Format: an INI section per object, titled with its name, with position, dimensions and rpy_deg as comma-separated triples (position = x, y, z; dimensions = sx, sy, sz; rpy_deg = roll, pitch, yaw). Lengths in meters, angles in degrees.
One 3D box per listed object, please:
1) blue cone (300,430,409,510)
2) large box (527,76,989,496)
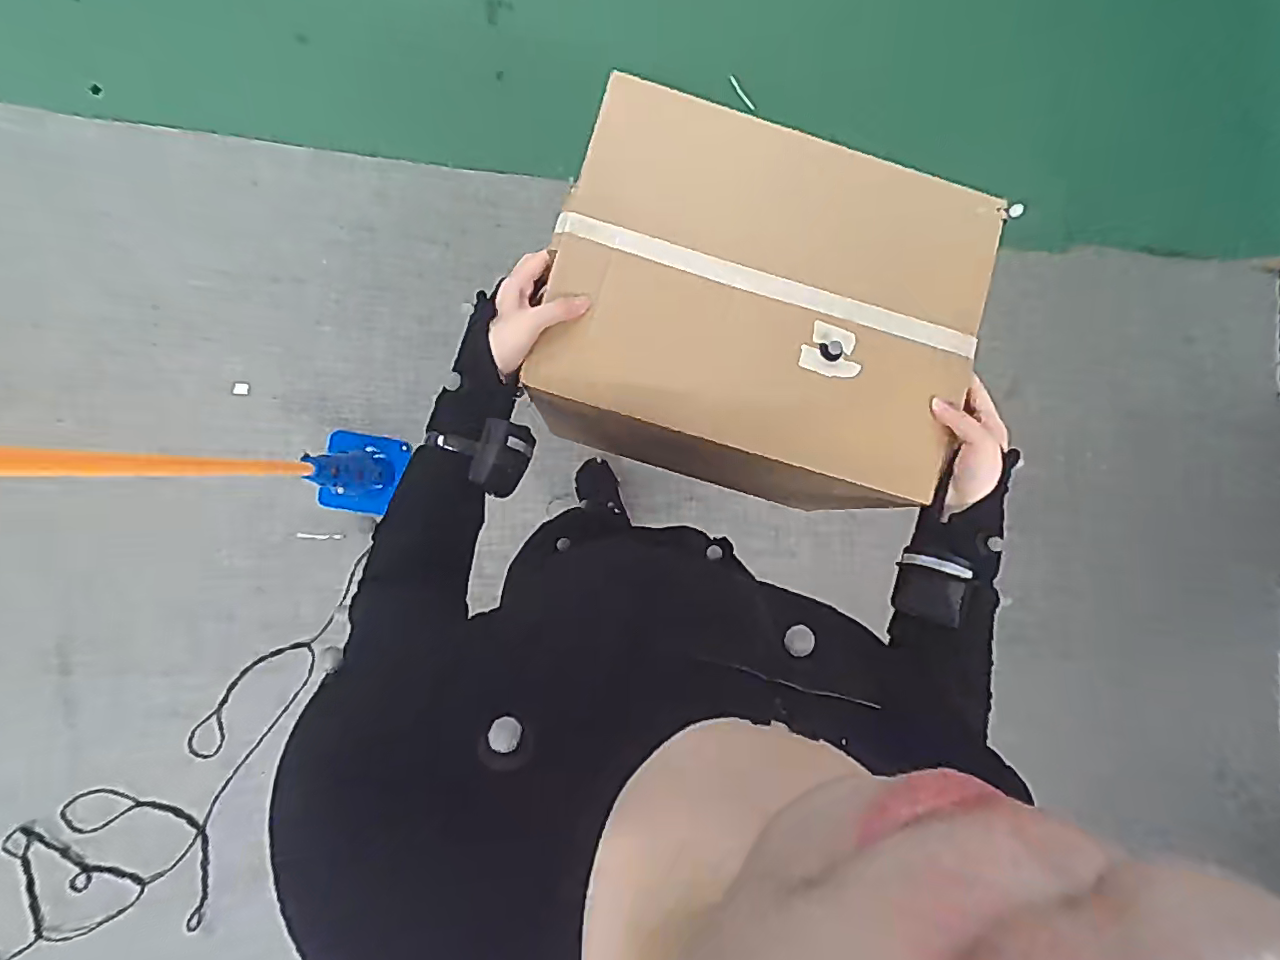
[blue cone]
position = -0.673, -0.032, 1.223
dimensions = 0.193, 0.380, 0.192
rpy_deg = 12, 85, -10
[large box]
position = 0.108, -0.180, 0.660
dimensions = 0.408, 0.320, 0.320
rpy_deg = 15, 86, -4
